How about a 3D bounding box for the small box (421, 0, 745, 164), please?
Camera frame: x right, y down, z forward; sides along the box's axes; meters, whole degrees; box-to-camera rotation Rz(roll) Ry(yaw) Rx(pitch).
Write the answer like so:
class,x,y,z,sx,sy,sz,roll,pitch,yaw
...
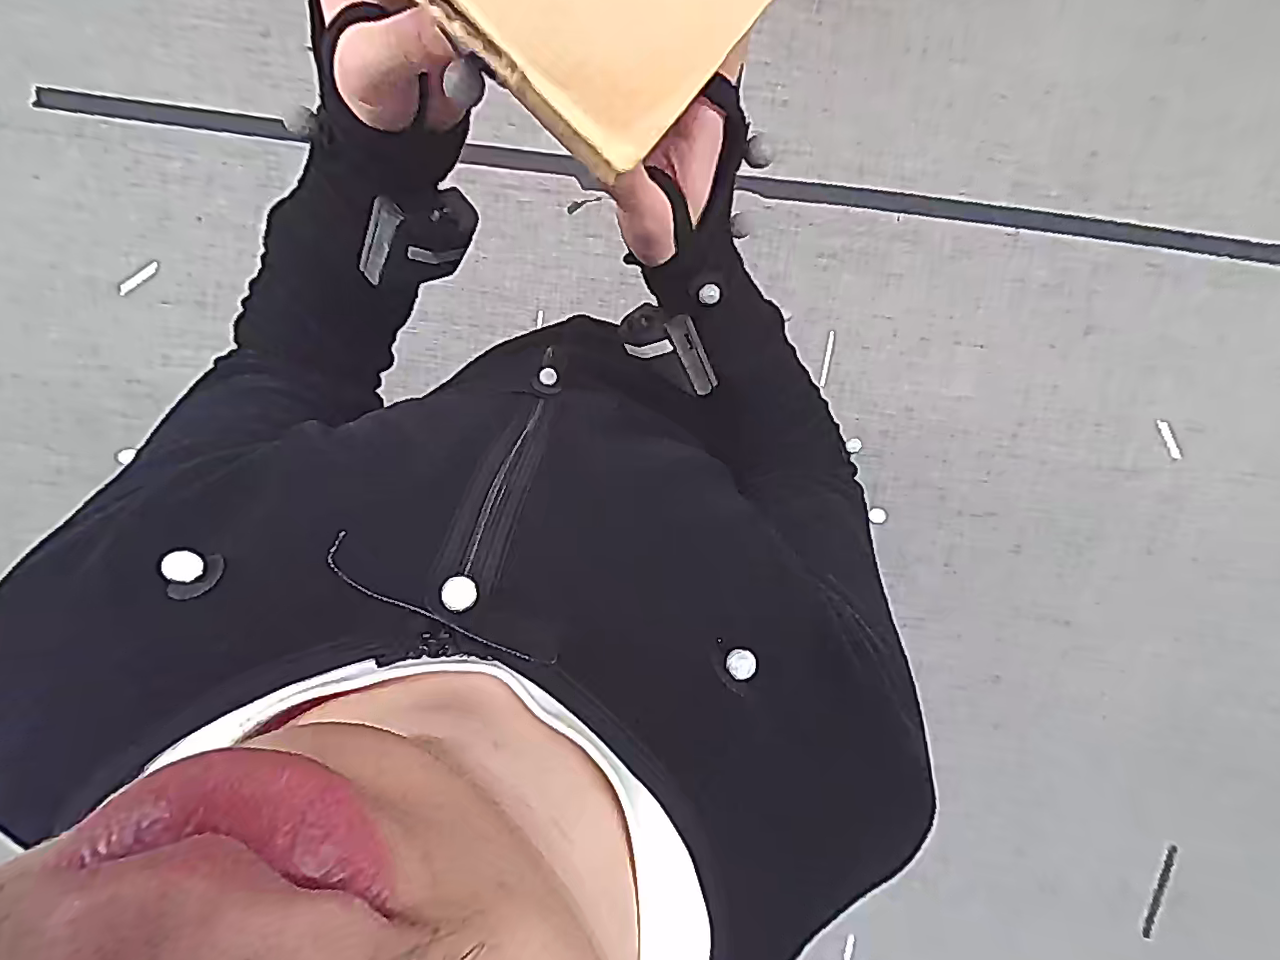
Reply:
class,x,y,z,sx,sy,sz,roll,pitch,yaw
small box,-0.020,-0.220,0.144,0.168,0.176,0.179,35,109,-28
